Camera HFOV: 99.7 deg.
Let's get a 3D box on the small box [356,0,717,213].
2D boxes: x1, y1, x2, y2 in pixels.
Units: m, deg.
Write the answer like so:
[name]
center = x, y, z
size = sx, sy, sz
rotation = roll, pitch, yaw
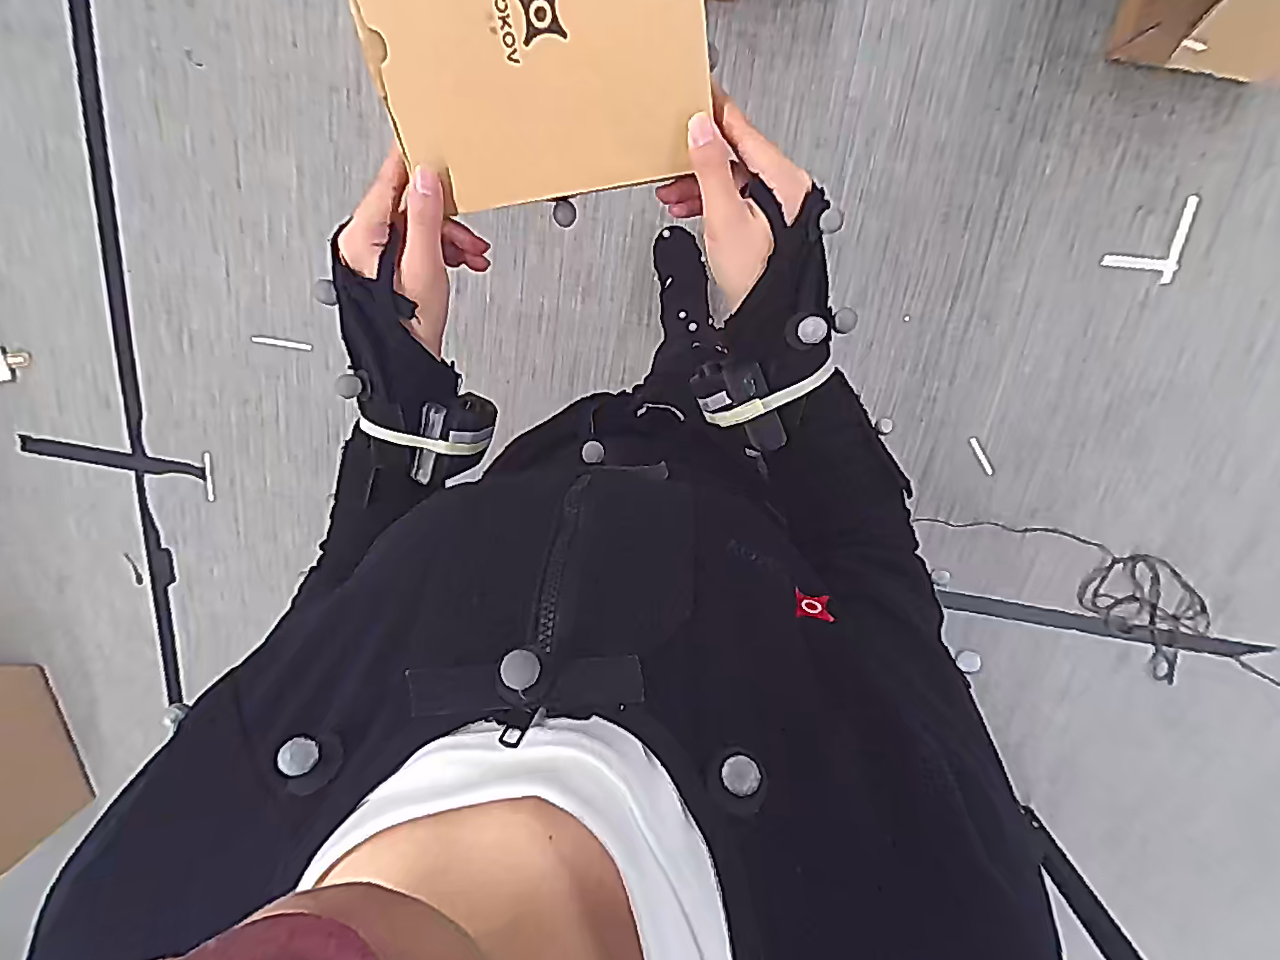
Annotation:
[small box]
center = -0.054, -0.276, 0.340
size = 0.179, 0.176, 0.168
rotation = -8, 119, 4
